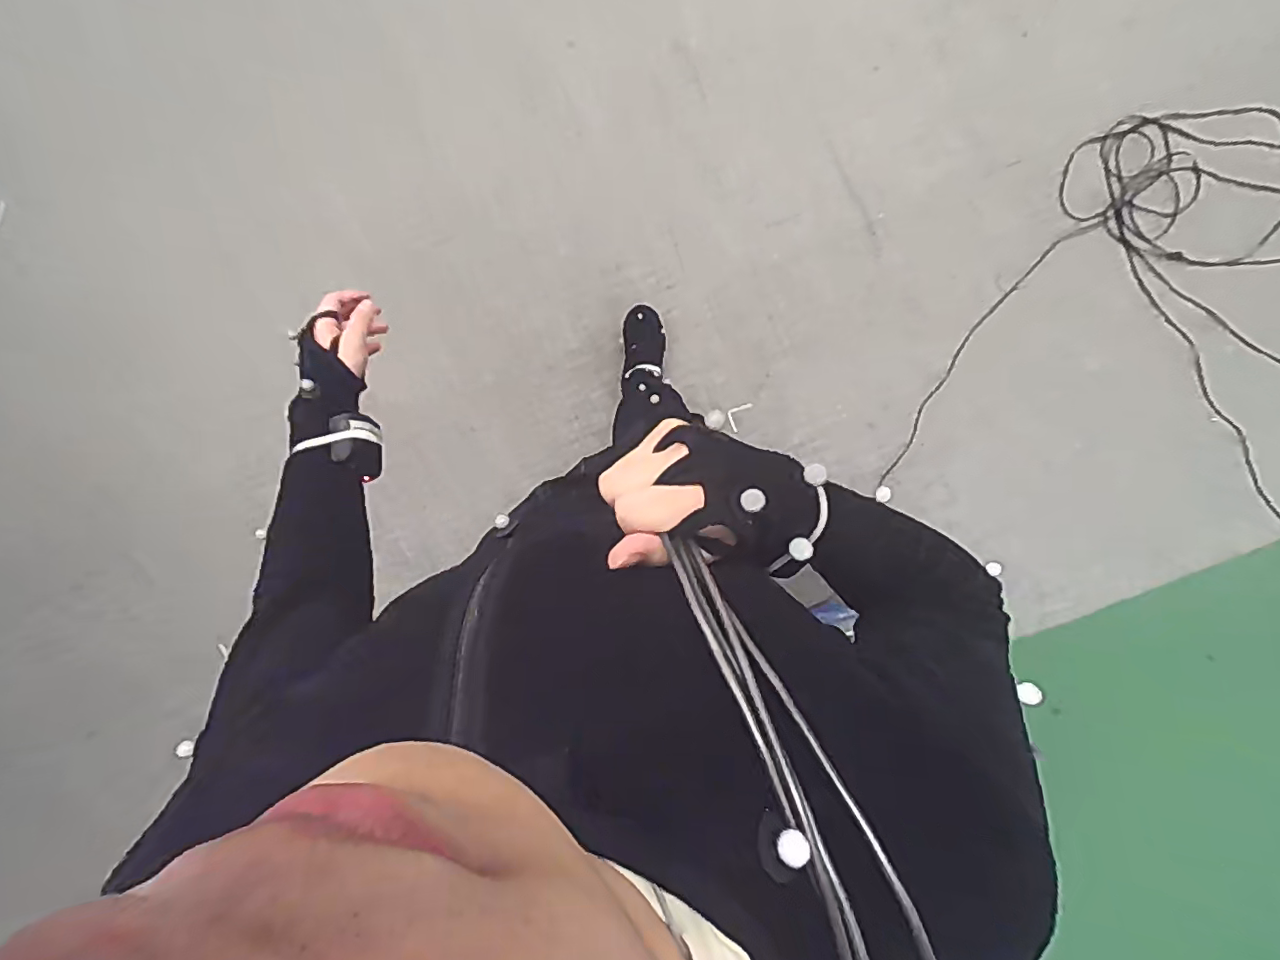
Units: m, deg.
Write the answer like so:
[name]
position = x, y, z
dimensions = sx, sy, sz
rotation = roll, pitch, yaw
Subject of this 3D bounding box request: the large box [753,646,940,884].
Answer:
[large box]
position = 0.506, 0.702, 1.382
dimensions = 0.320, 0.320, 0.408
rotation = -13, 99, 2
